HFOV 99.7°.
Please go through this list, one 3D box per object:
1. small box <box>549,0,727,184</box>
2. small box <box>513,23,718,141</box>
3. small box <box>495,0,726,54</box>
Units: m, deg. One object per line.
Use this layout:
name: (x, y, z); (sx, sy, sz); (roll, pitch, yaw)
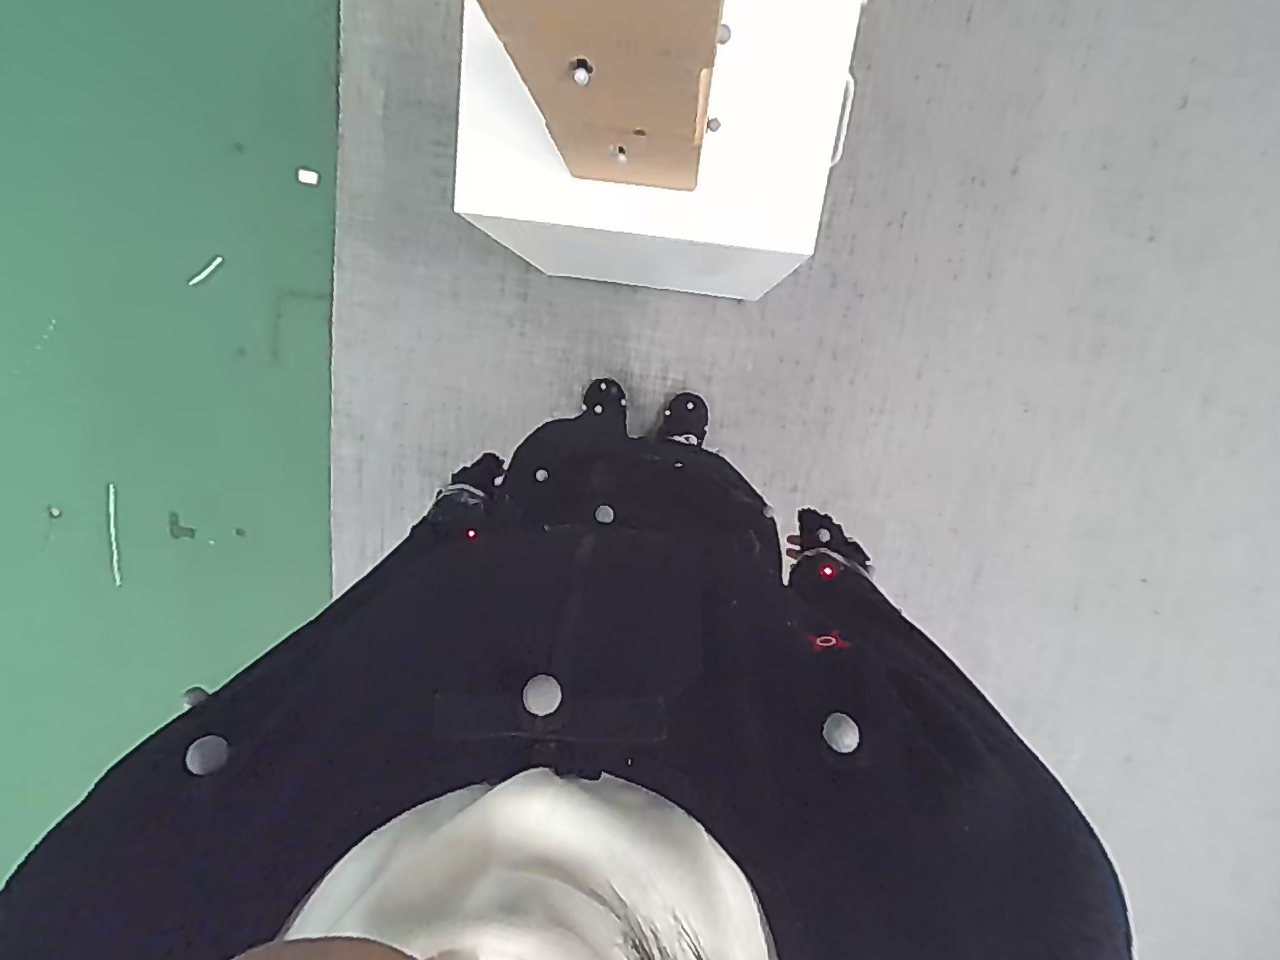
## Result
small box: (0.002, -0.475, 0.649); (0.179, 0.176, 0.168); (8, 103, 2)
small box: (-0.008, -0.444, 0.492); (0.168, 0.176, 0.179); (7, 103, 2)
small box: (-0.020, -0.403, 0.330); (0.179, 0.176, 0.168); (10, 103, 2)
